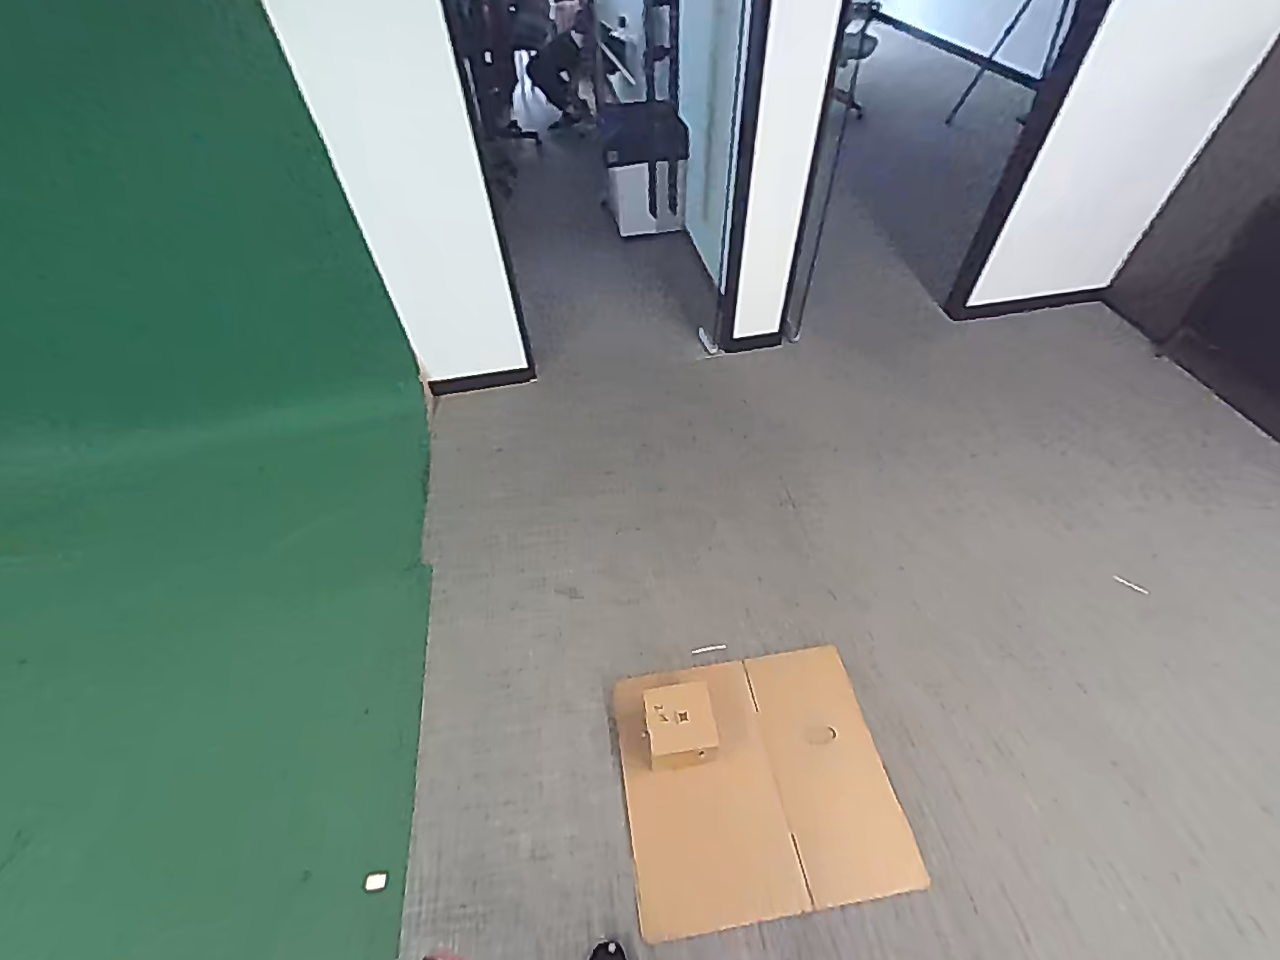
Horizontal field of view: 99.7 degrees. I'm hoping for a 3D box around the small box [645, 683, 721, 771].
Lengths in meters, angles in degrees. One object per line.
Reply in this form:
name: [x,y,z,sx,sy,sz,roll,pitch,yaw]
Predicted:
small box: [0.108,0.661,1.442,0.179,0.176,0.168,-7,50,-3]
